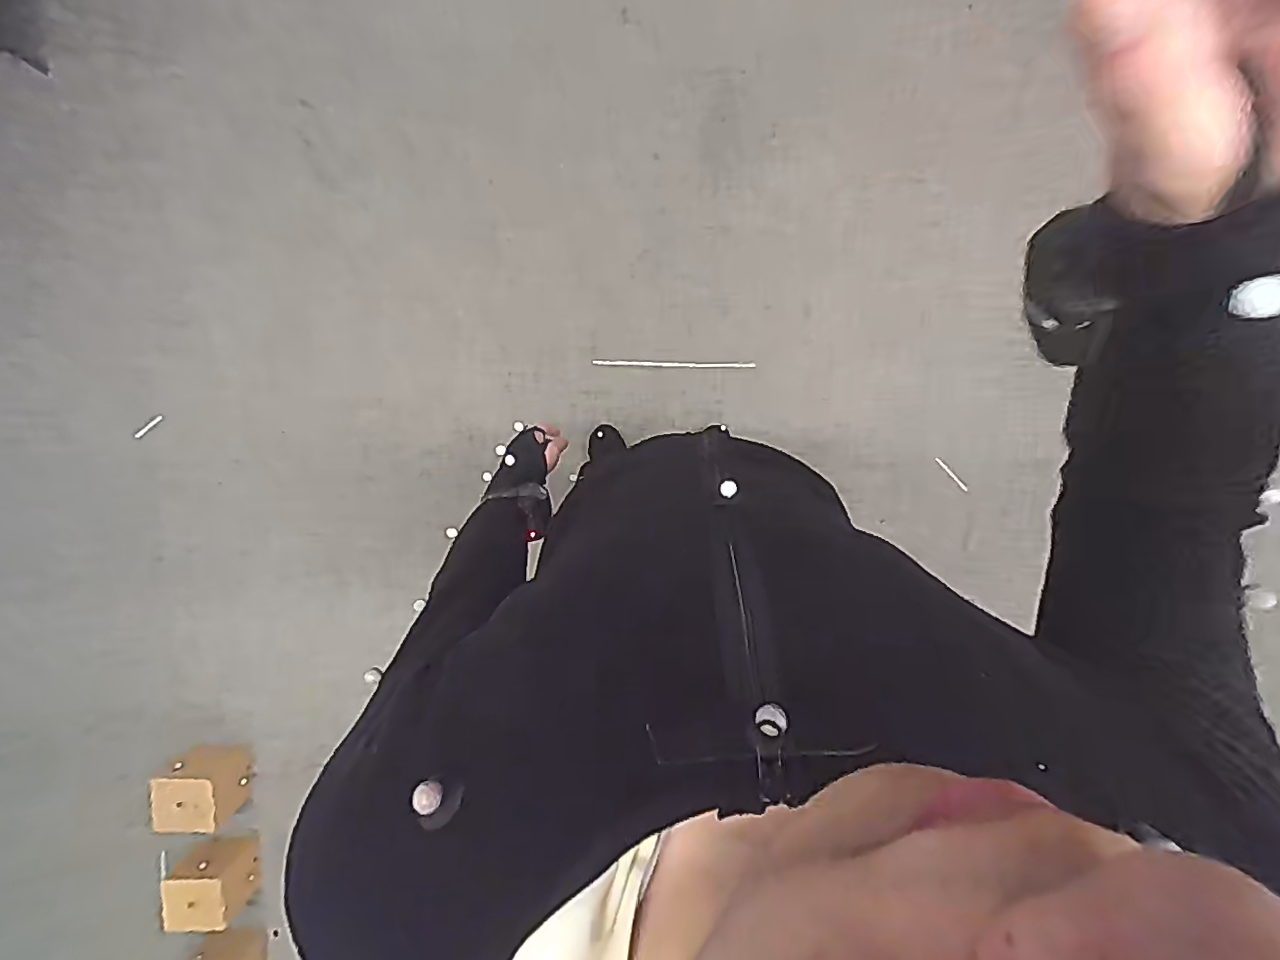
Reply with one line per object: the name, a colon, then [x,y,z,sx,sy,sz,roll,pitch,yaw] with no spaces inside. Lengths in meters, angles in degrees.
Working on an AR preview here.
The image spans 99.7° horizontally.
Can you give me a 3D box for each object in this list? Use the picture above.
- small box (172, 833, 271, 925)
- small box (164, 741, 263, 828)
small box: [-1.290,1.230,1.675,0.179,0.176,0.168,0,96,-1]
small box: [-1.290,0.917,1.643,0.179,0.176,0.168,3,96,-1]
